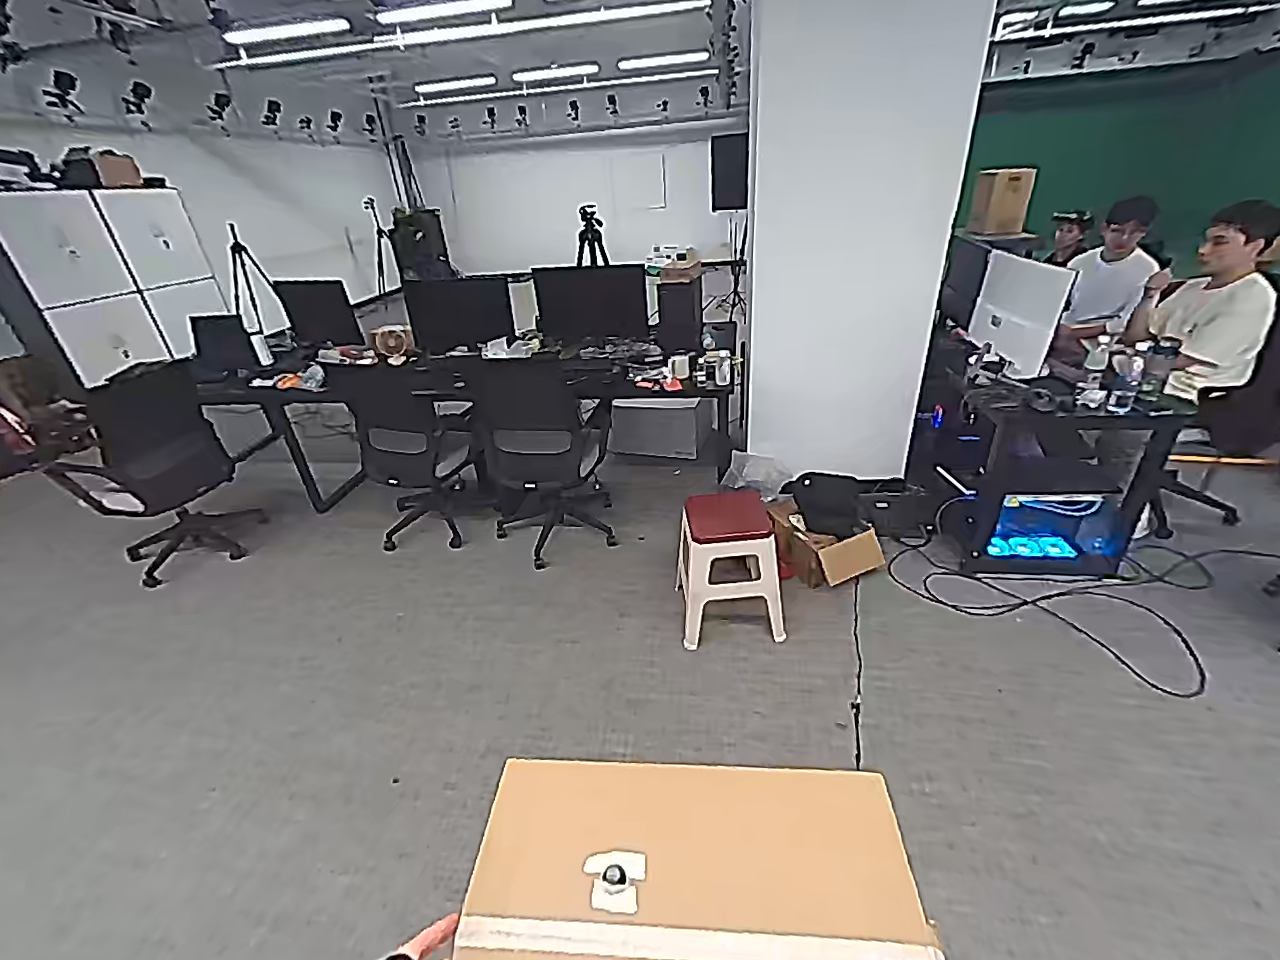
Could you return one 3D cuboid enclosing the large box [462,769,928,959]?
[{"bbox_3d":[0.057,0.526,0.548,0.408,0.320,0.320,-2,32,6],"label":"large box"}]
